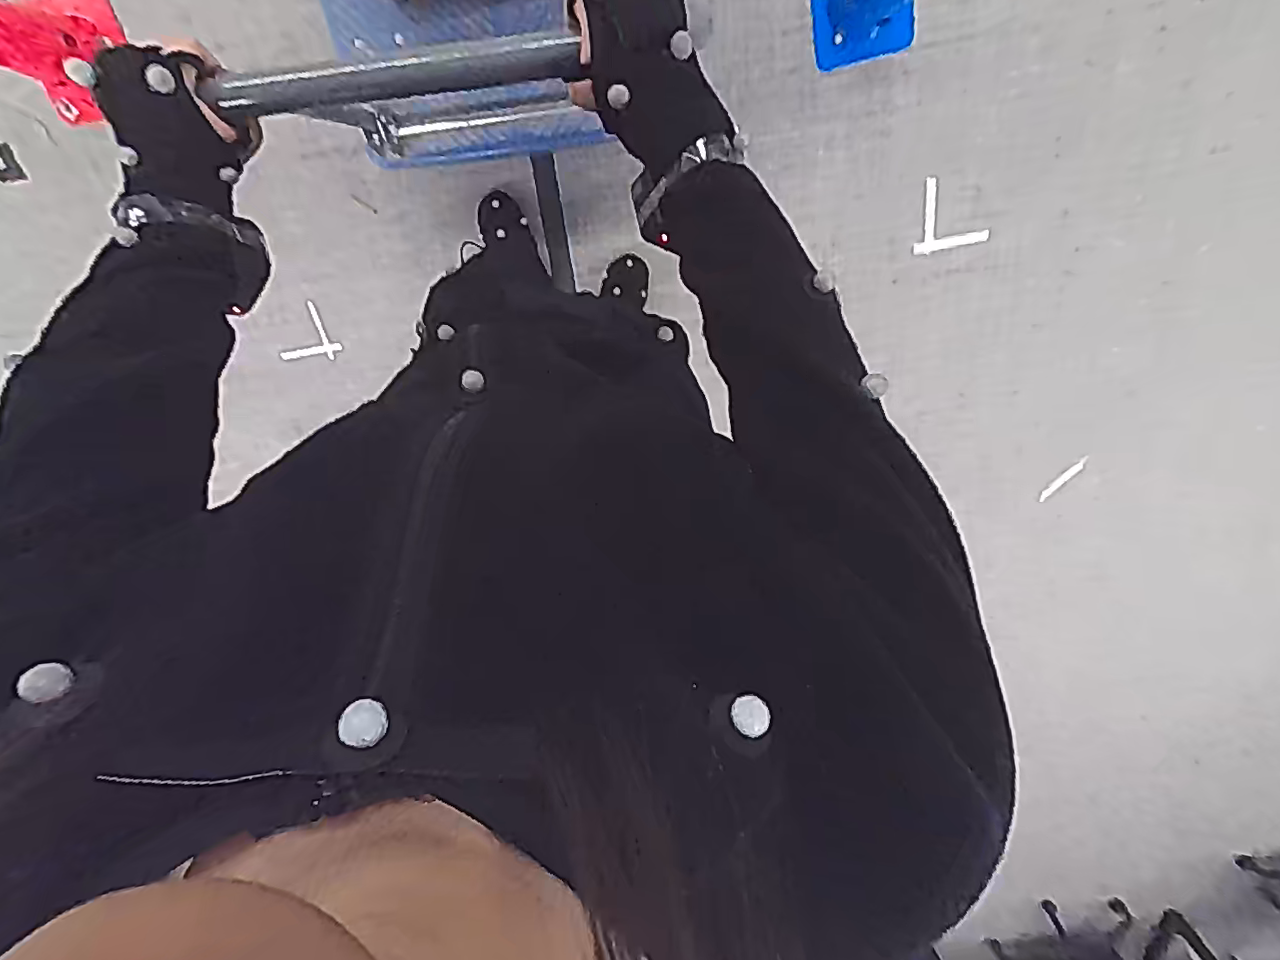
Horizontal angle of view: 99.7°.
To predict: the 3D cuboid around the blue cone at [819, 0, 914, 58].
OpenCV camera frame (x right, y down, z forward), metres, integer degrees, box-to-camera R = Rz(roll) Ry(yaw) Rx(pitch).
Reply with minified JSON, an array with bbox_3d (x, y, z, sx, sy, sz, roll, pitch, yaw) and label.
[{"bbox_3d":[0.450,-0.891,0.917,0.193,0.380,0.192,-12,115,3],"label":"blue cone"}]
